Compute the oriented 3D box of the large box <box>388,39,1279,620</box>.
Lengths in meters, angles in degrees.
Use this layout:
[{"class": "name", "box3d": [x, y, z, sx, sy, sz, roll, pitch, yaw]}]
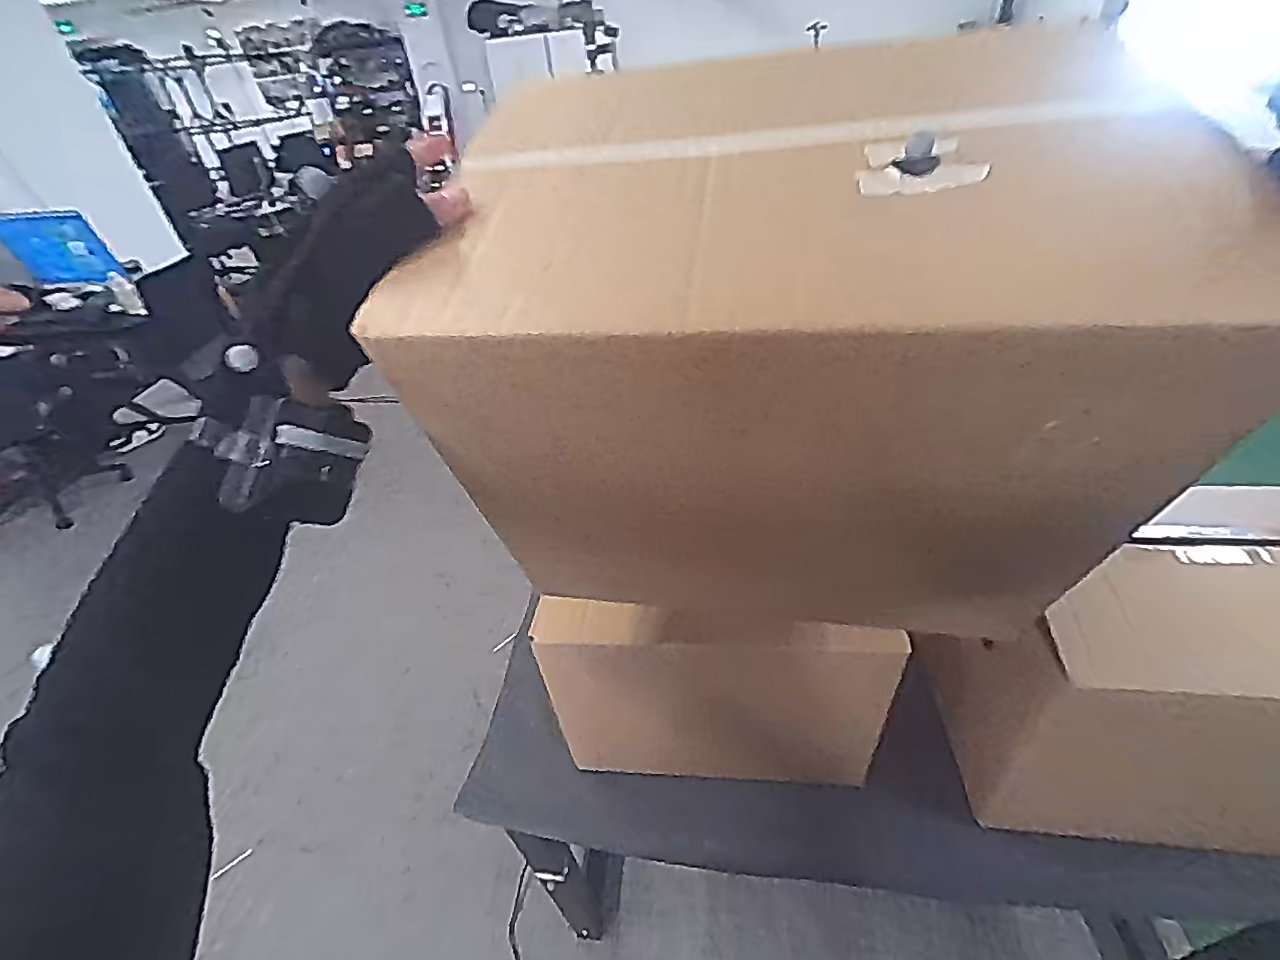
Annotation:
[{"class": "large box", "box3d": [0.103, -0.099, 0.439, 0.408, 0.320, 0.320, 3, 57, 10]}]
